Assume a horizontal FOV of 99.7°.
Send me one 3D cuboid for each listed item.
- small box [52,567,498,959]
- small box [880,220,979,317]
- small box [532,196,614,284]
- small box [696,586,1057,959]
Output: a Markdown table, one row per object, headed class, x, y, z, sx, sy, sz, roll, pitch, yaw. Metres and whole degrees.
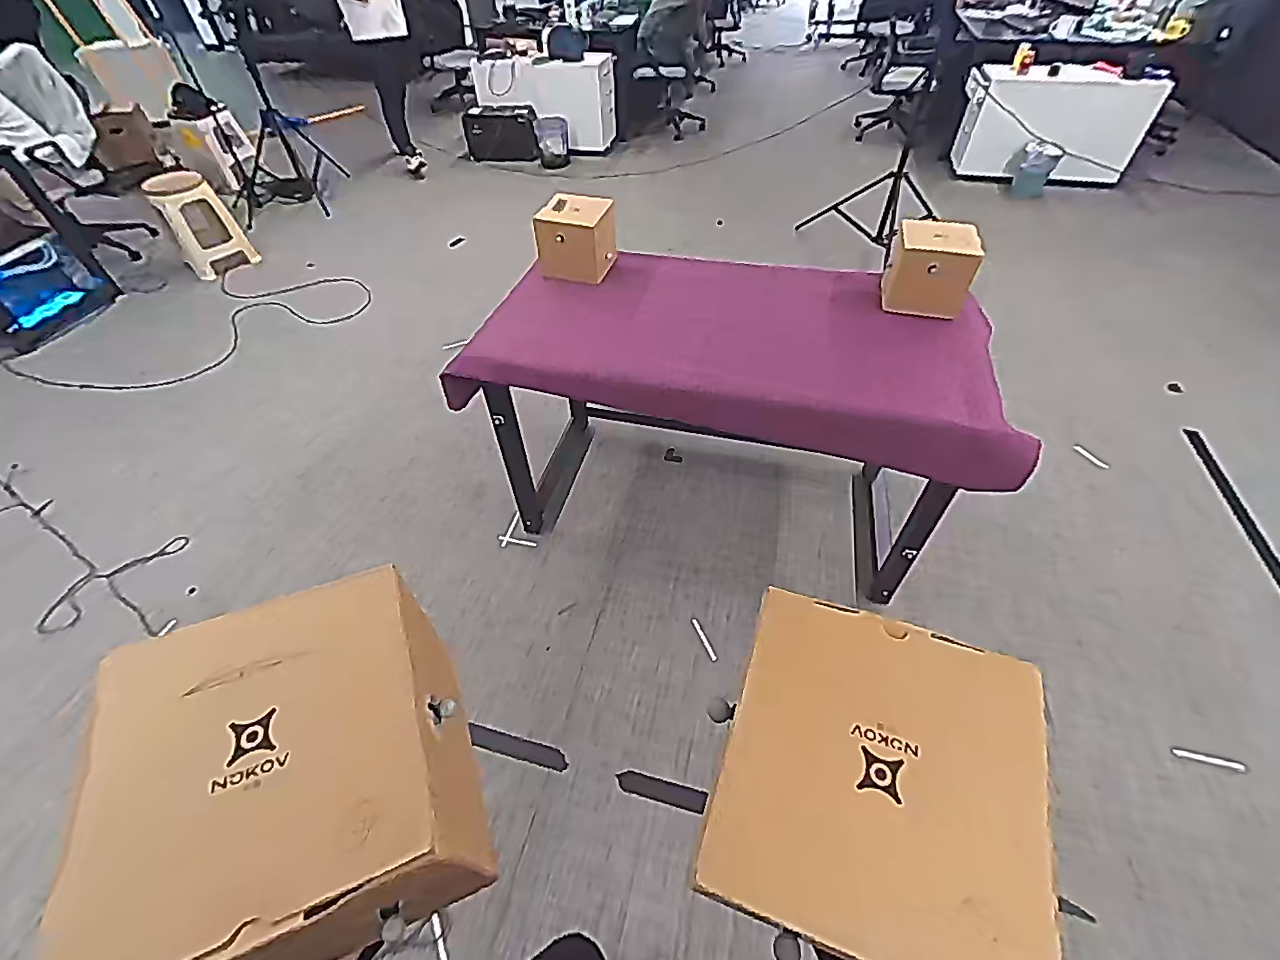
| class | x | y | z | sx | sy | sz | roll | pitch | yaw |
| --- | --- | --- | --- | --- | --- | --- | --- | --- | --- |
| small box | -0.202 | 0.192 | 0.350 | 0.168 | 0.176 | 0.179 | -18 | 52 | -16 |
| small box | 0.718 | -0.533 | 1.365 | 0.179 | 0.176 | 0.168 | 11 | 50 | 10 |
| small box | -0.181 | -0.673 | 1.520 | 0.179 | 0.176 | 0.168 | 13 | 52 | 11 |
| small box | 0.140 | 0.205 | 0.364 | 0.168 | 0.176 | 0.179 | 14 | 54 | 15 |
